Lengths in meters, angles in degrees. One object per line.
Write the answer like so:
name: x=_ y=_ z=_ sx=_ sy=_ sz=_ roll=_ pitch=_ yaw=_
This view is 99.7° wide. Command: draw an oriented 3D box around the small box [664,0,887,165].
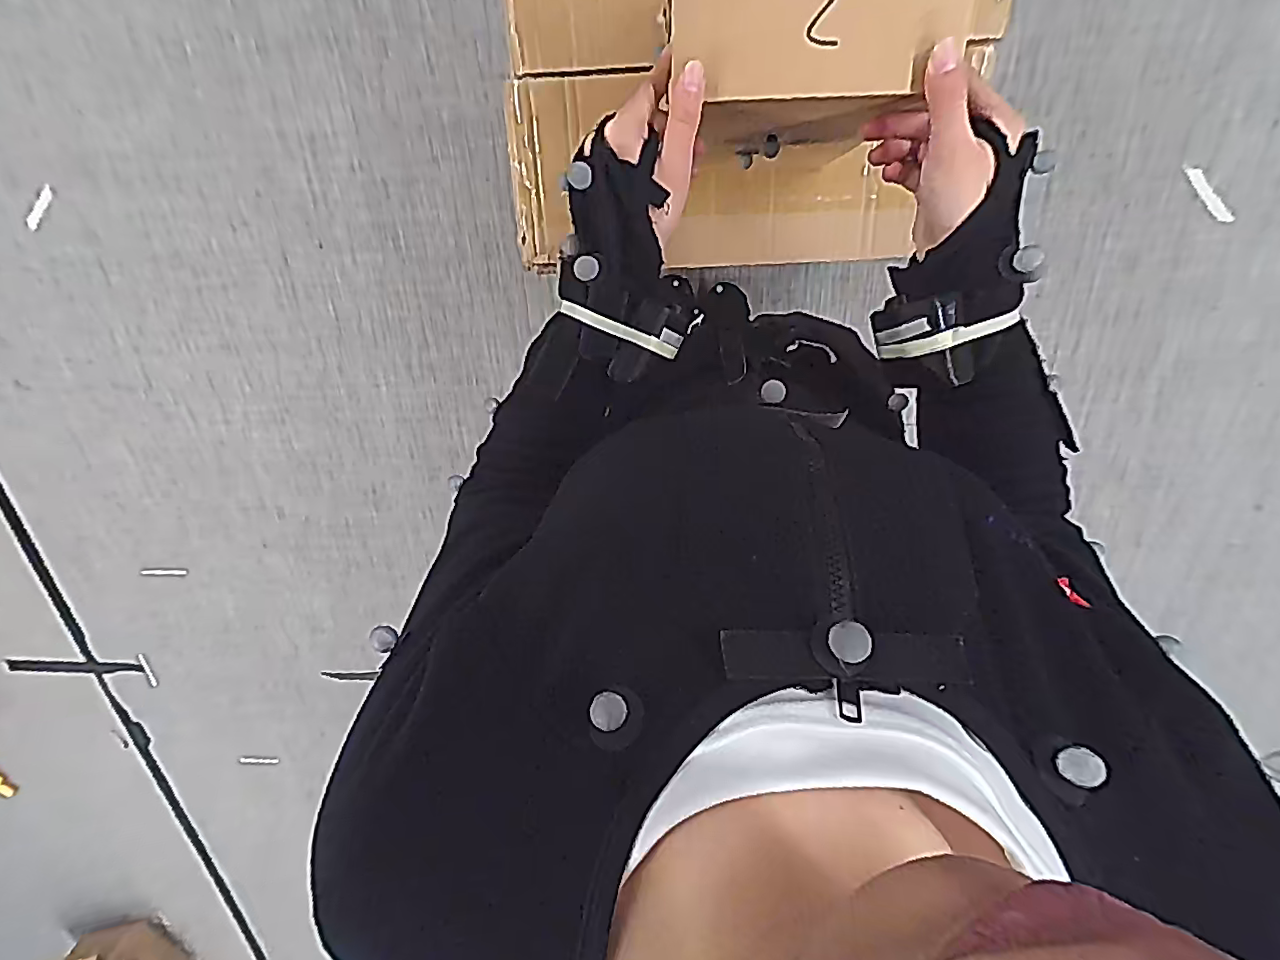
small box: x=0.114 y=-0.401 z=0.506 sx=0.179 sy=0.176 sz=0.168 roll=1 pitch=113 yaw=4
